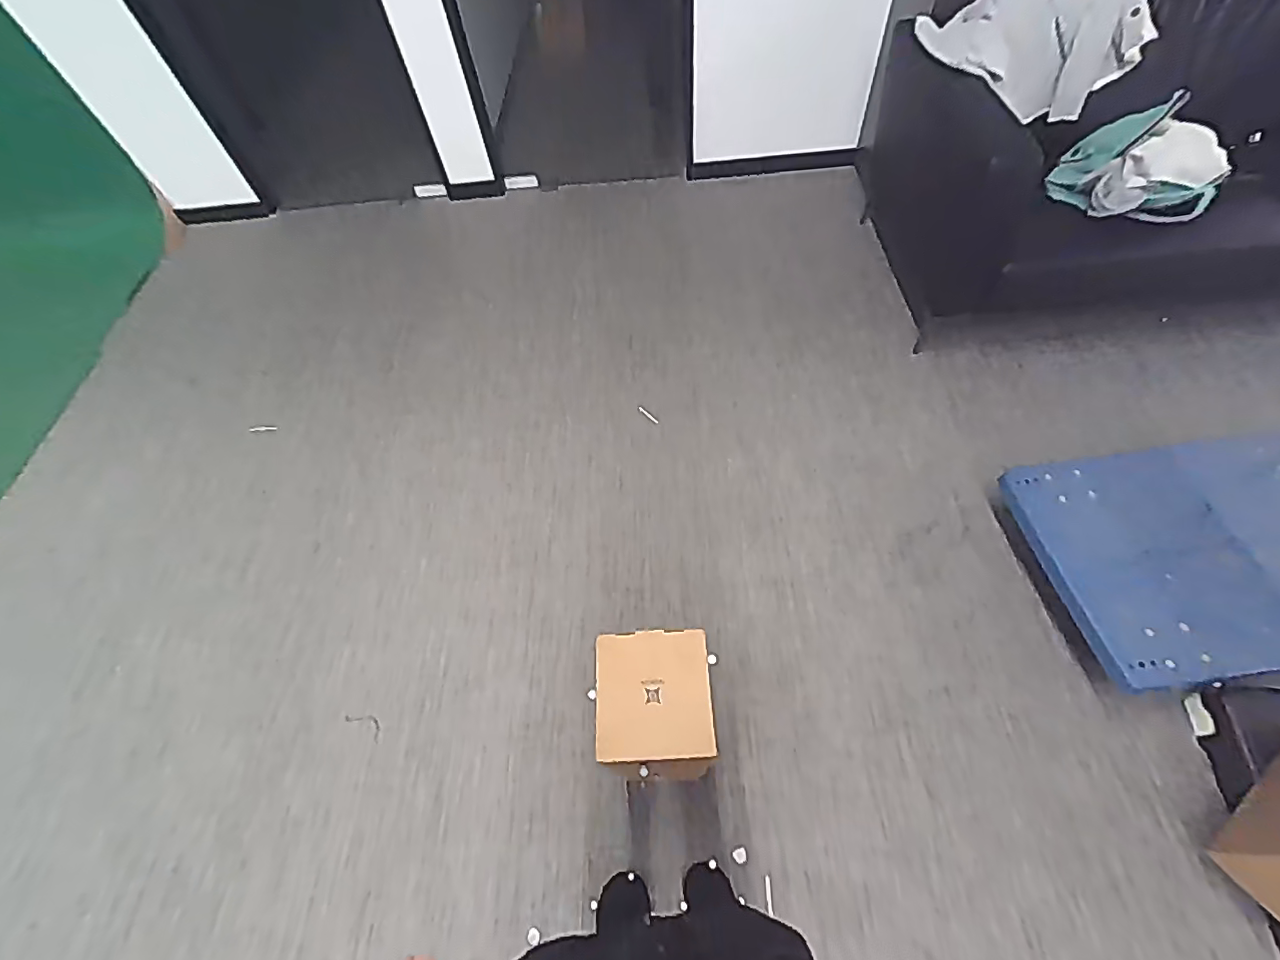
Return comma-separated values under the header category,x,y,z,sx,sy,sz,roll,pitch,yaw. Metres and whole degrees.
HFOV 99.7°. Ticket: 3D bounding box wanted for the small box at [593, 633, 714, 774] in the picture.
category,x,y,z,sx,sy,sz,roll,pitch,yaw
small box,0.024,0.349,0.830,0.168,0.176,0.179,-4,57,3
